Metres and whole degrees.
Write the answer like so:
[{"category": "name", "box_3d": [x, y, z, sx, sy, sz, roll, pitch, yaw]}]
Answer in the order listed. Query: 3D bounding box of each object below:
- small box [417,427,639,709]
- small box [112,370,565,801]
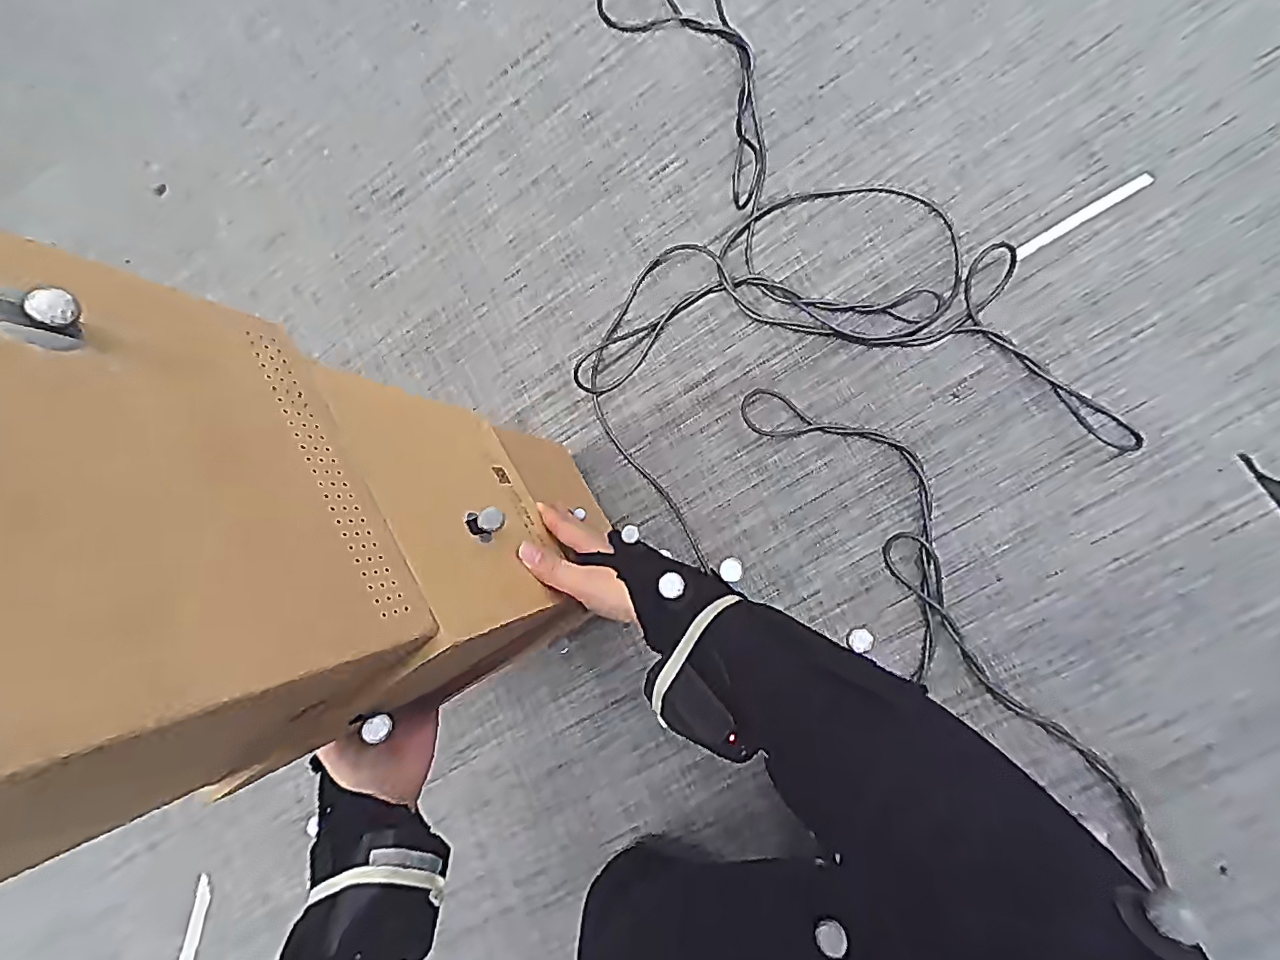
[{"category": "small box", "box_3d": [-0.126, 0.076, 0.511, 0.168, 0.176, 0.179, -34, 79, 12]}, {"category": "small box", "box_3d": [-0.171, 0.058, 0.356, 0.179, 0.176, 0.168, -35, 79, 12]}]
